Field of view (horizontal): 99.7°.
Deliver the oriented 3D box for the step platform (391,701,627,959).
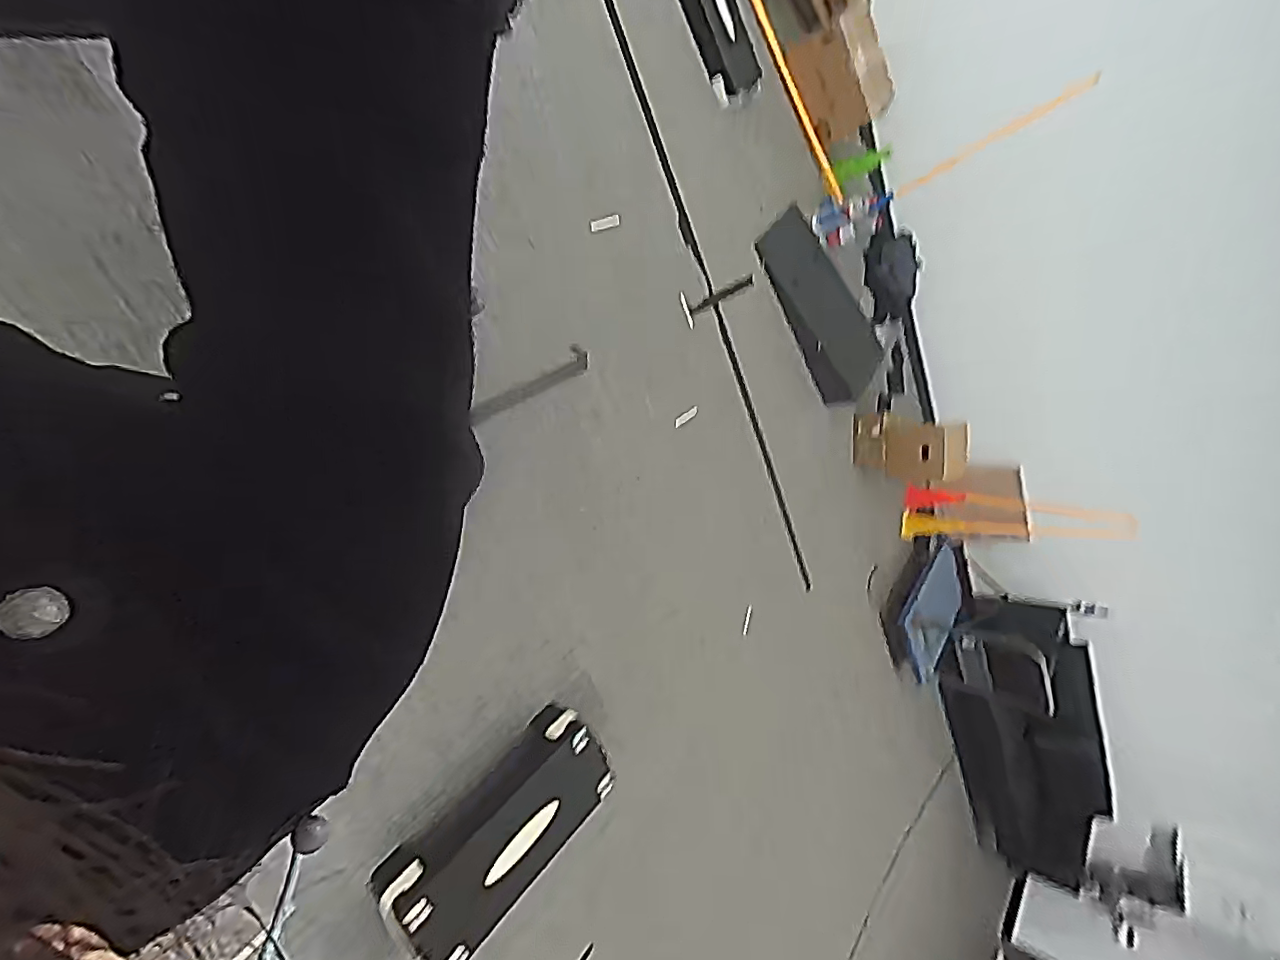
[{"bbox_3d":[-0.345,0.989,1.600,0.684,0.204,0.286,-32,109,-39],"label":"step platform"}]
